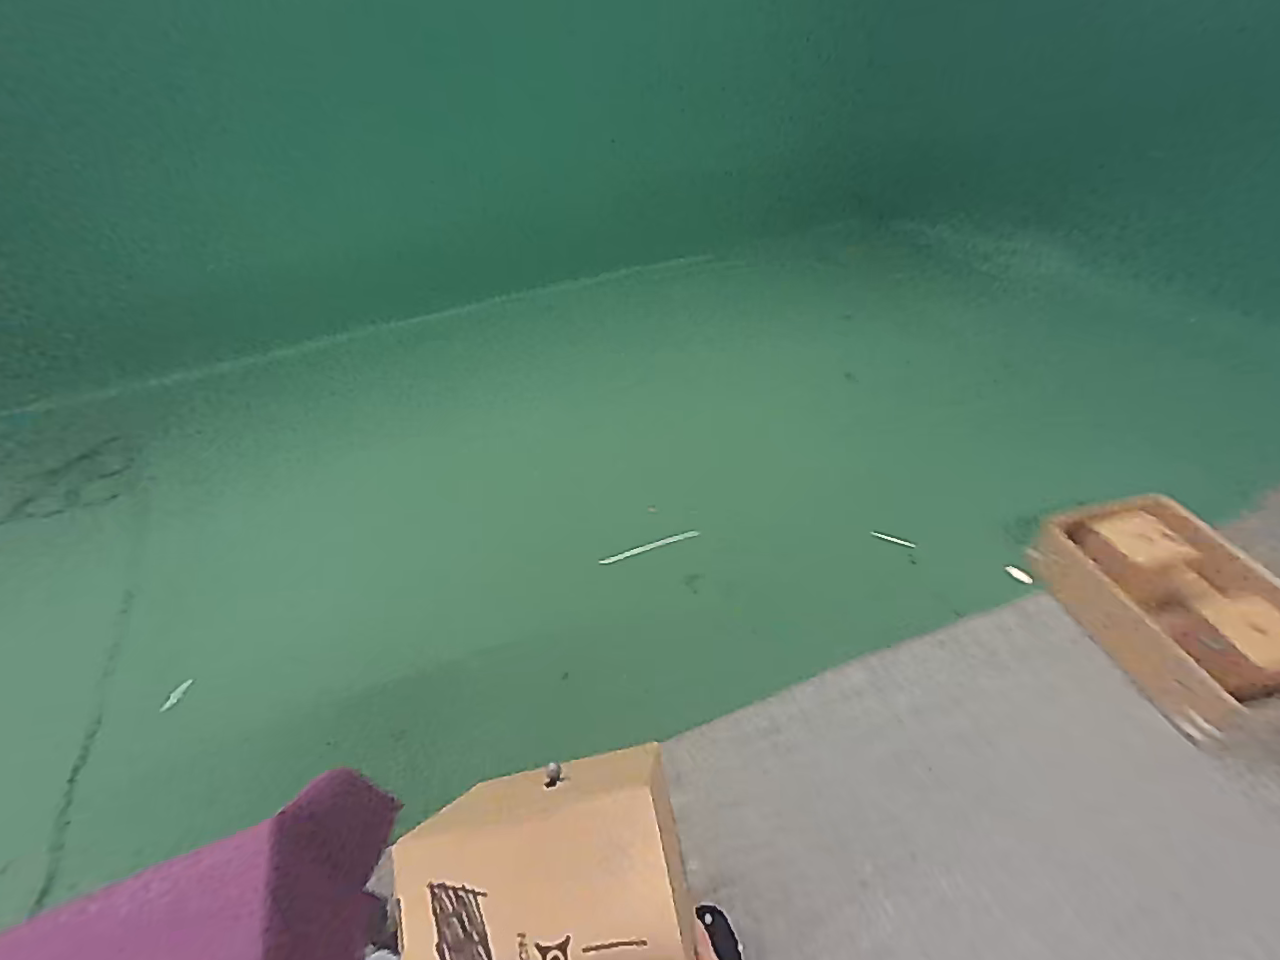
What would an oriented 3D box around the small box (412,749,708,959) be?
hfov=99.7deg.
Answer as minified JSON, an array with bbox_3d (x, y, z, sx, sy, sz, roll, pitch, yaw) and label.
[{"bbox_3d":[-0.047,0.318,0.407,0.179,0.176,0.168,-12,73,0],"label":"small box"}]
